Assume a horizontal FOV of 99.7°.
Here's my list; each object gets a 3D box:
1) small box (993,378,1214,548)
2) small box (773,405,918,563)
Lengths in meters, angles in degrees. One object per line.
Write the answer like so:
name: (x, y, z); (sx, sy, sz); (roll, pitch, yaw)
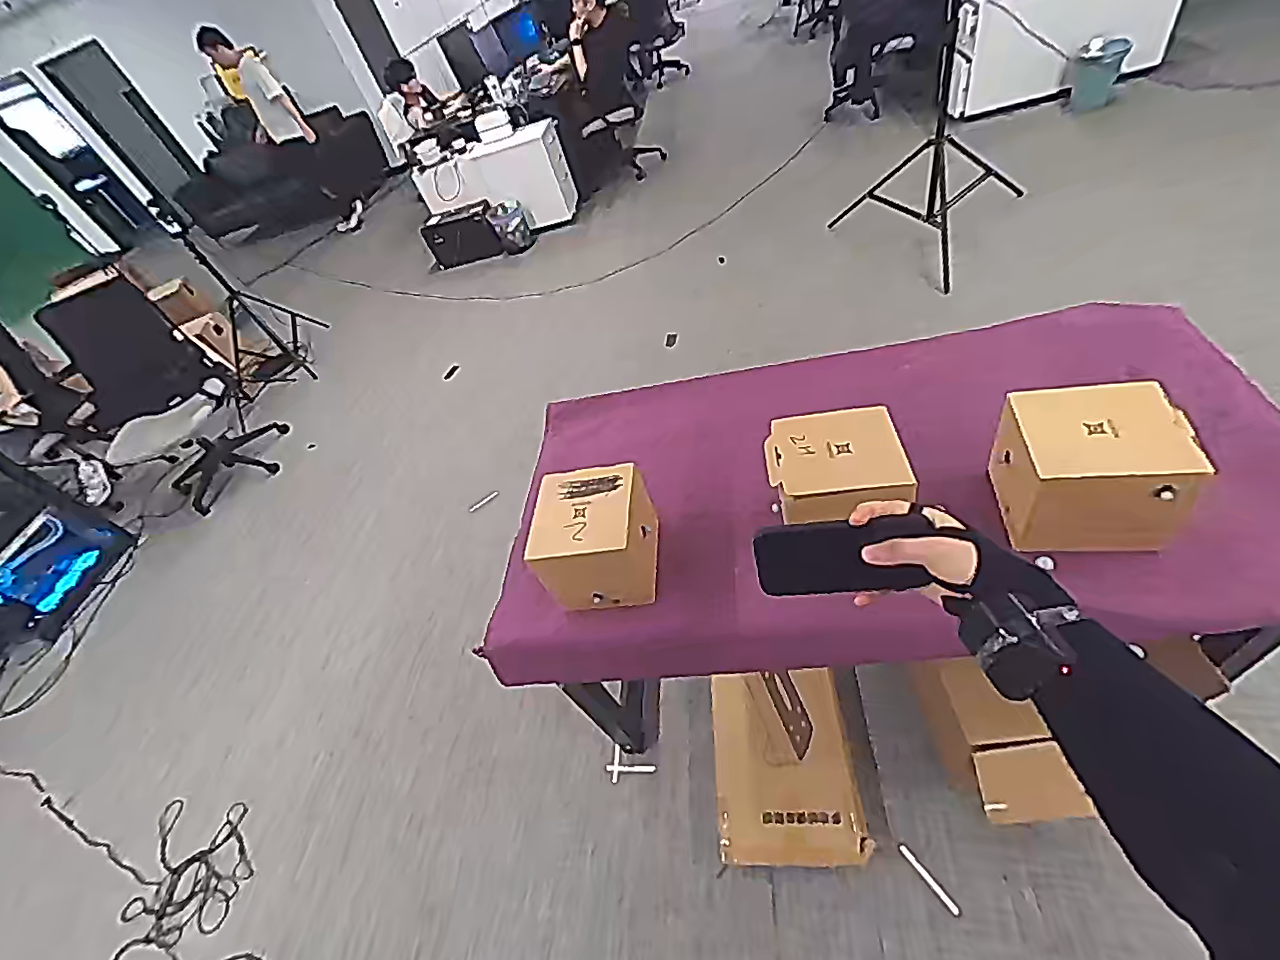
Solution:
small box: (0.614, -0.017, 0.752); (0.179, 0.176, 0.168); (-3, 49, 18)
small box: (0.309, 0.011, 0.840); (0.179, 0.176, 0.168); (-9, 45, 13)
